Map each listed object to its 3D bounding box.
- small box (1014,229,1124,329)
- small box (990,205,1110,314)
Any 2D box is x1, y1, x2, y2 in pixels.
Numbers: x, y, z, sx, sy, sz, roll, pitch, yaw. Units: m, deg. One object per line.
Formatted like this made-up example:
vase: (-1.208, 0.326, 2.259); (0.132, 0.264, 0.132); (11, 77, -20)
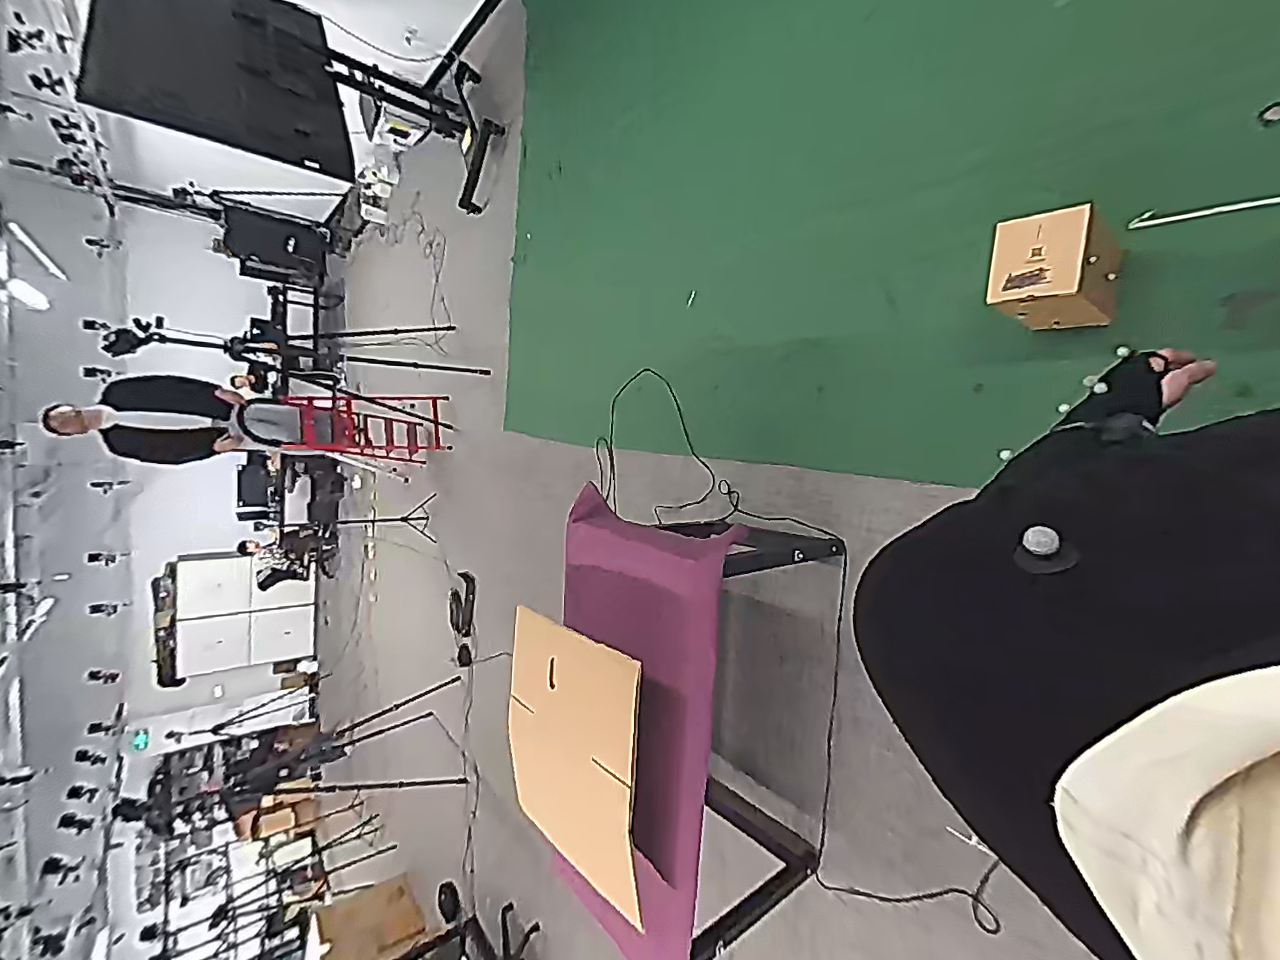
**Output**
small box: (1.025, -0.469, 1.290); (0.168, 0.176, 0.179); (11, 98, 50)
small box: (0.899, -0.470, 1.185); (0.168, 0.176, 0.179); (11, 98, 50)
